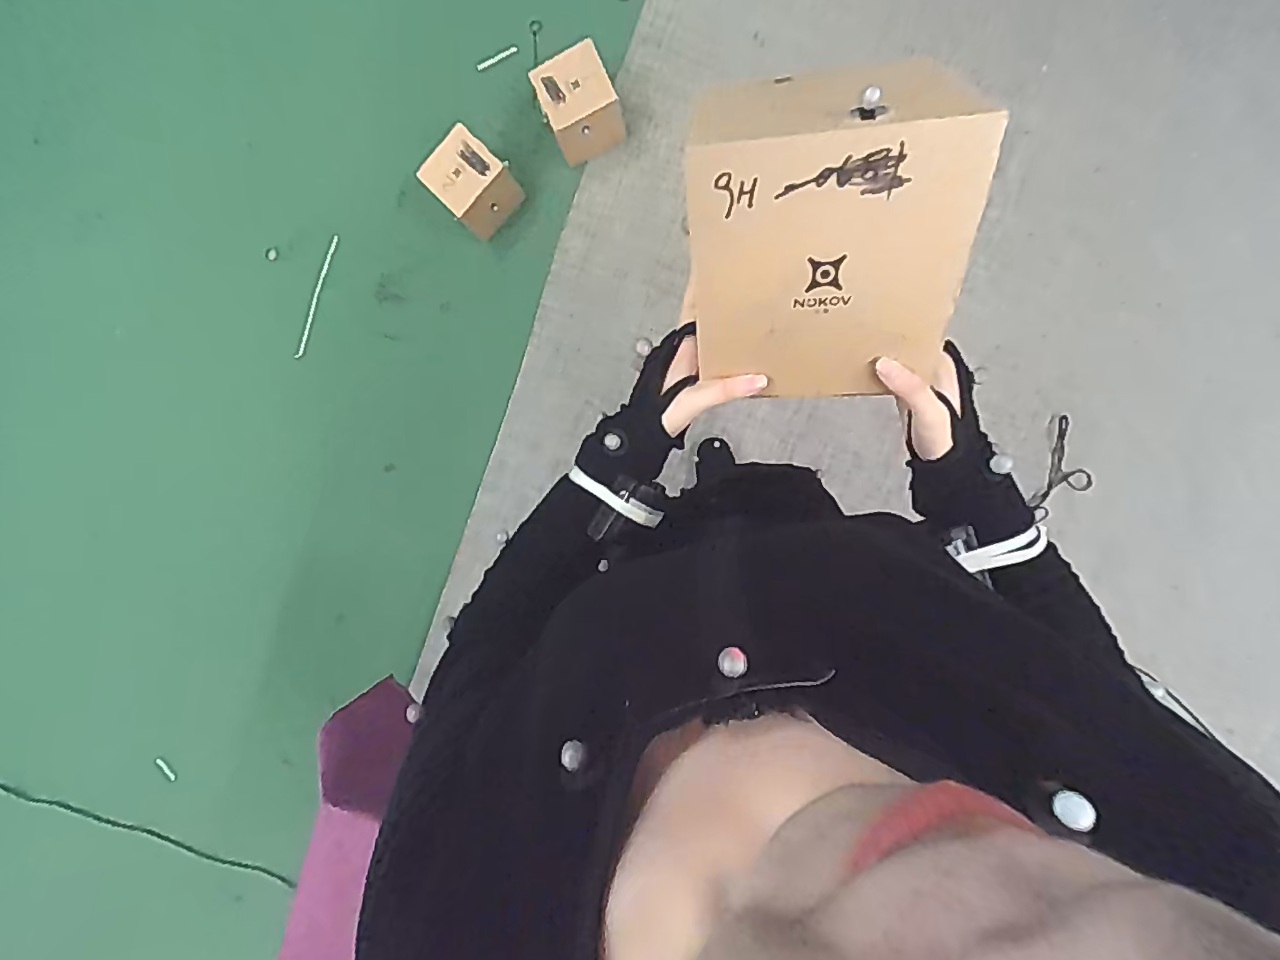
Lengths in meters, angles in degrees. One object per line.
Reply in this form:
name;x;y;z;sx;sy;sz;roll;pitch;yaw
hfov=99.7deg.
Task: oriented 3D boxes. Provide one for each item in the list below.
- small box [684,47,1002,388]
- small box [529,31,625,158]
small box;0.125;-0.187;0.400;0.168;0.176;0.179;1;136;10
small box;-0.154;-0.974;1.386;0.179;0.176;0.168;-24;90;6
